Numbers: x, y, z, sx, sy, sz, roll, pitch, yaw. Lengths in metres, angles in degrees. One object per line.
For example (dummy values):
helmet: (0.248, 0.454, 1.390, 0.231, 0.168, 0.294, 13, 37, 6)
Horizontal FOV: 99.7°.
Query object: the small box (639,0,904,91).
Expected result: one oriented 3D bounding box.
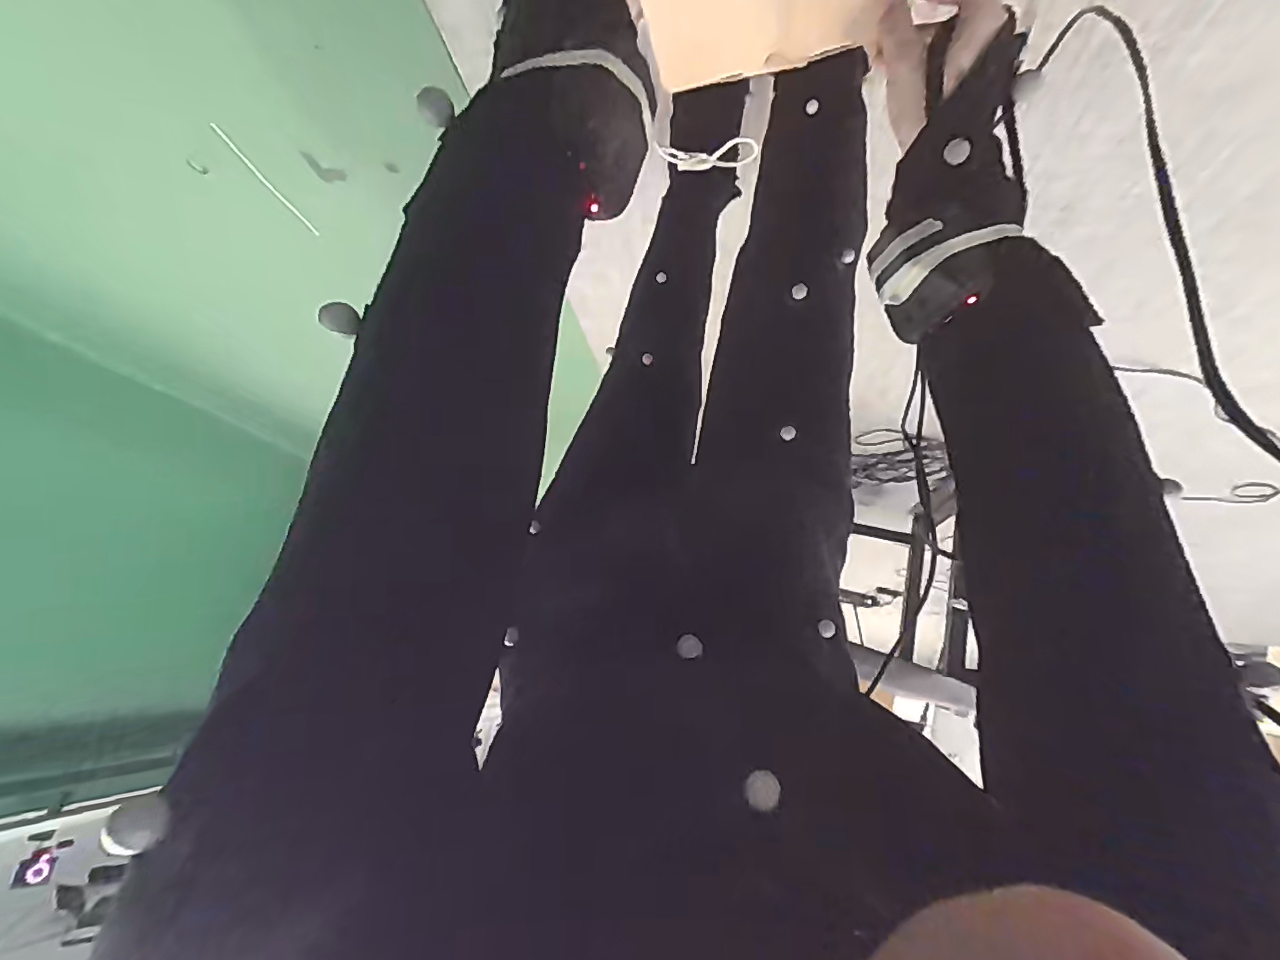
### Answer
small box: (0.080, -0.403, 0.341, 0.168, 0.176, 0.179, 1, 155, 22)
